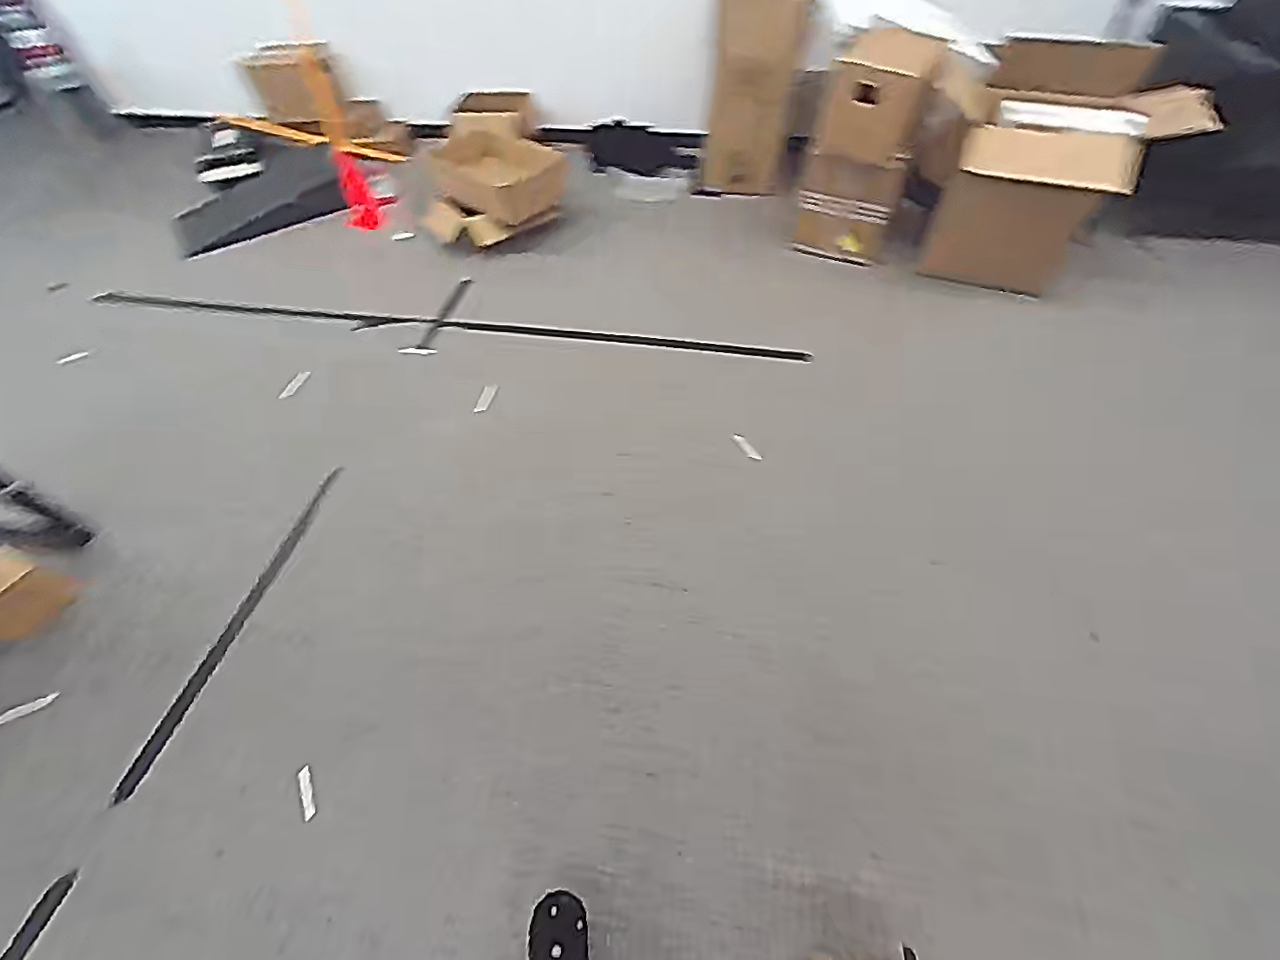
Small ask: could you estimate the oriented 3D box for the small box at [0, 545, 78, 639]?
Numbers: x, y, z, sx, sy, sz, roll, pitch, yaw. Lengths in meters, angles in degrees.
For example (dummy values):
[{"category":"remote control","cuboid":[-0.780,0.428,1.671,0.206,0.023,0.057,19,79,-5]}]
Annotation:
[{"category":"small box","cuboid":[-1.801,0.326,1.562,0.168,0.176,0.179,22,58,17]}]
